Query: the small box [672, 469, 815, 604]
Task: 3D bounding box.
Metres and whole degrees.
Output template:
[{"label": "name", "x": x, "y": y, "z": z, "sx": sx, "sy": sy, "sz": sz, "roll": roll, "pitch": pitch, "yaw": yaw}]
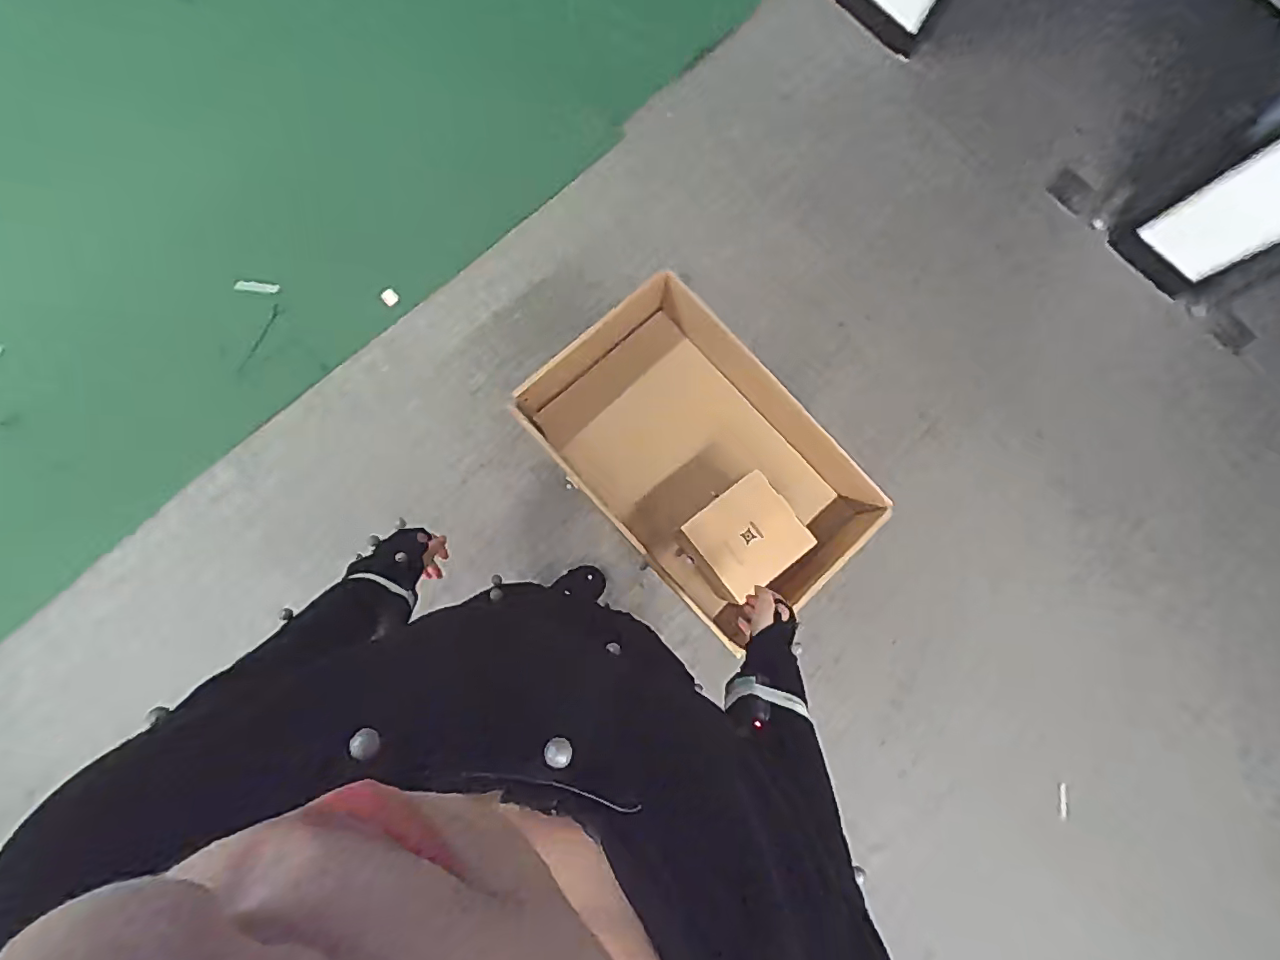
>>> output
[{"label": "small box", "x": 0.177, "y": 0.104, "z": 0.987, "sx": 0.179, "sy": 0.176, "sz": 0.168, "roll": -36, "pitch": 84, "yaw": -9}]
